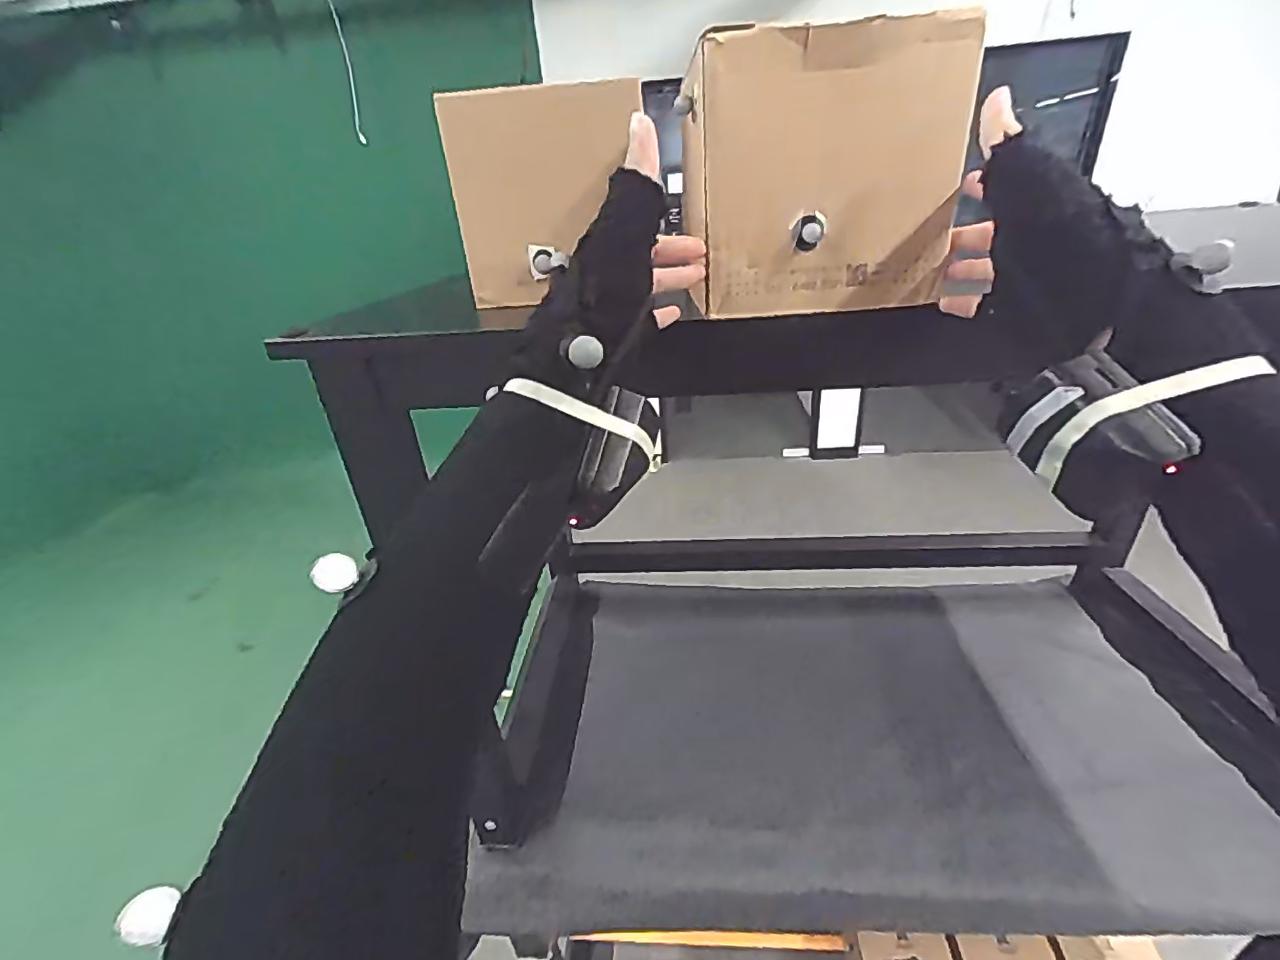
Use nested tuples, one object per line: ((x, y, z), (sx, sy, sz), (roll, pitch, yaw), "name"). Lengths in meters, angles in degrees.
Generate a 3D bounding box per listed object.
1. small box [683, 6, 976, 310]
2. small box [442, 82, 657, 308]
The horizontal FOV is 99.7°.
((0.122, -0.233, 0.428), (0.168, 0.176, 0.179), (-4, 26, 2), "small box")
((-0.072, -0.273, 0.540), (0.168, 0.176, 0.179), (-4, 27, 3), "small box")
